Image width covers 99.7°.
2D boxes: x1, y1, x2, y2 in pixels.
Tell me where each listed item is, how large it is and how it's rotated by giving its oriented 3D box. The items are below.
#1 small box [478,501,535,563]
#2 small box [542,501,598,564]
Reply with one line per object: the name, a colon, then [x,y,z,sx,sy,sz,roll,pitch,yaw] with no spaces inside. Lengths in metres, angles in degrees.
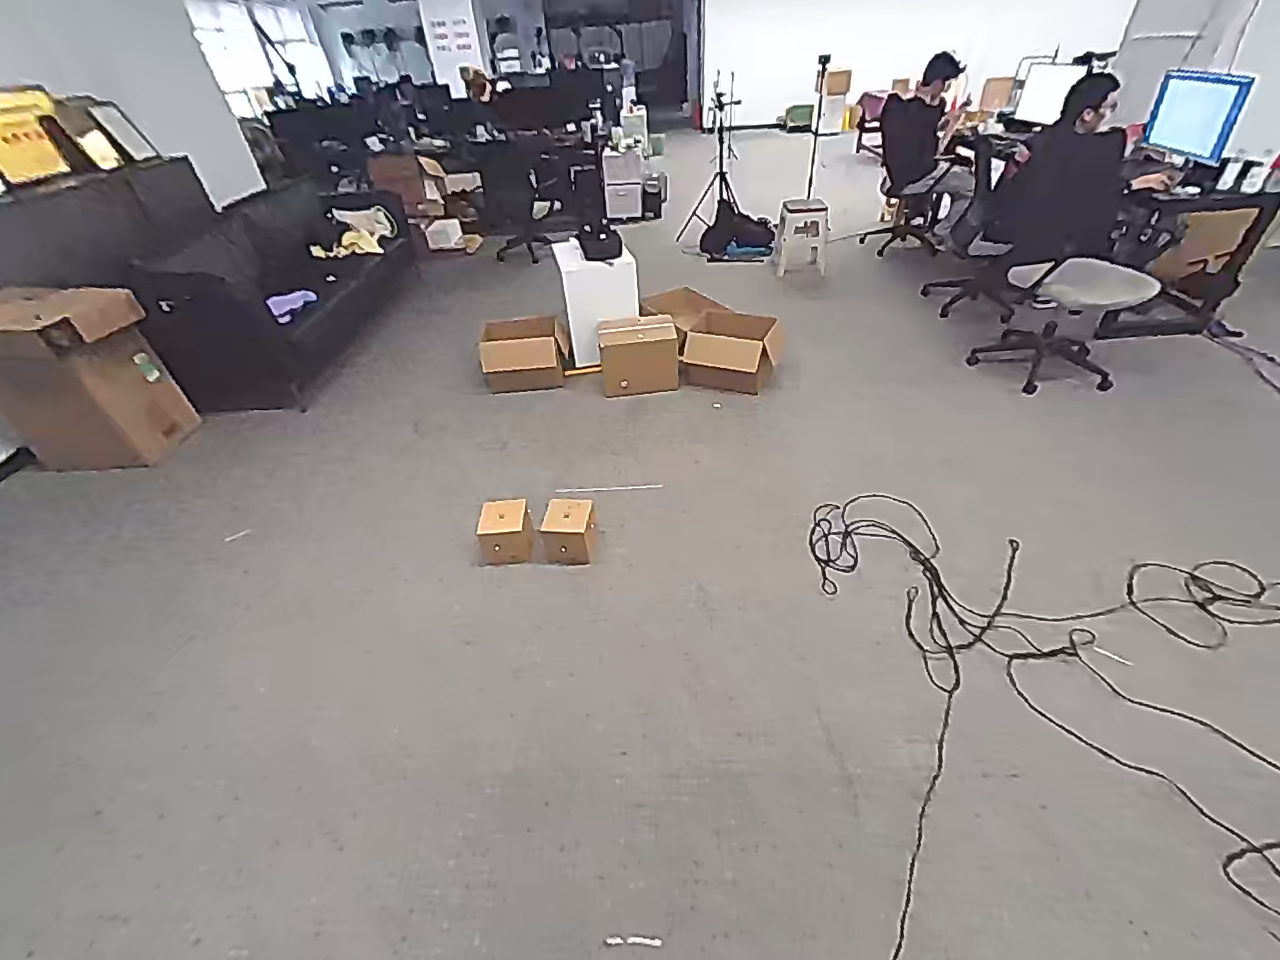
small box: [-0.502,0.204,2.060,0.168,0.176,0.179,-6,39,0]
small box: [-0.257,0.198,2.037,0.168,0.176,0.179,2,40,8]
